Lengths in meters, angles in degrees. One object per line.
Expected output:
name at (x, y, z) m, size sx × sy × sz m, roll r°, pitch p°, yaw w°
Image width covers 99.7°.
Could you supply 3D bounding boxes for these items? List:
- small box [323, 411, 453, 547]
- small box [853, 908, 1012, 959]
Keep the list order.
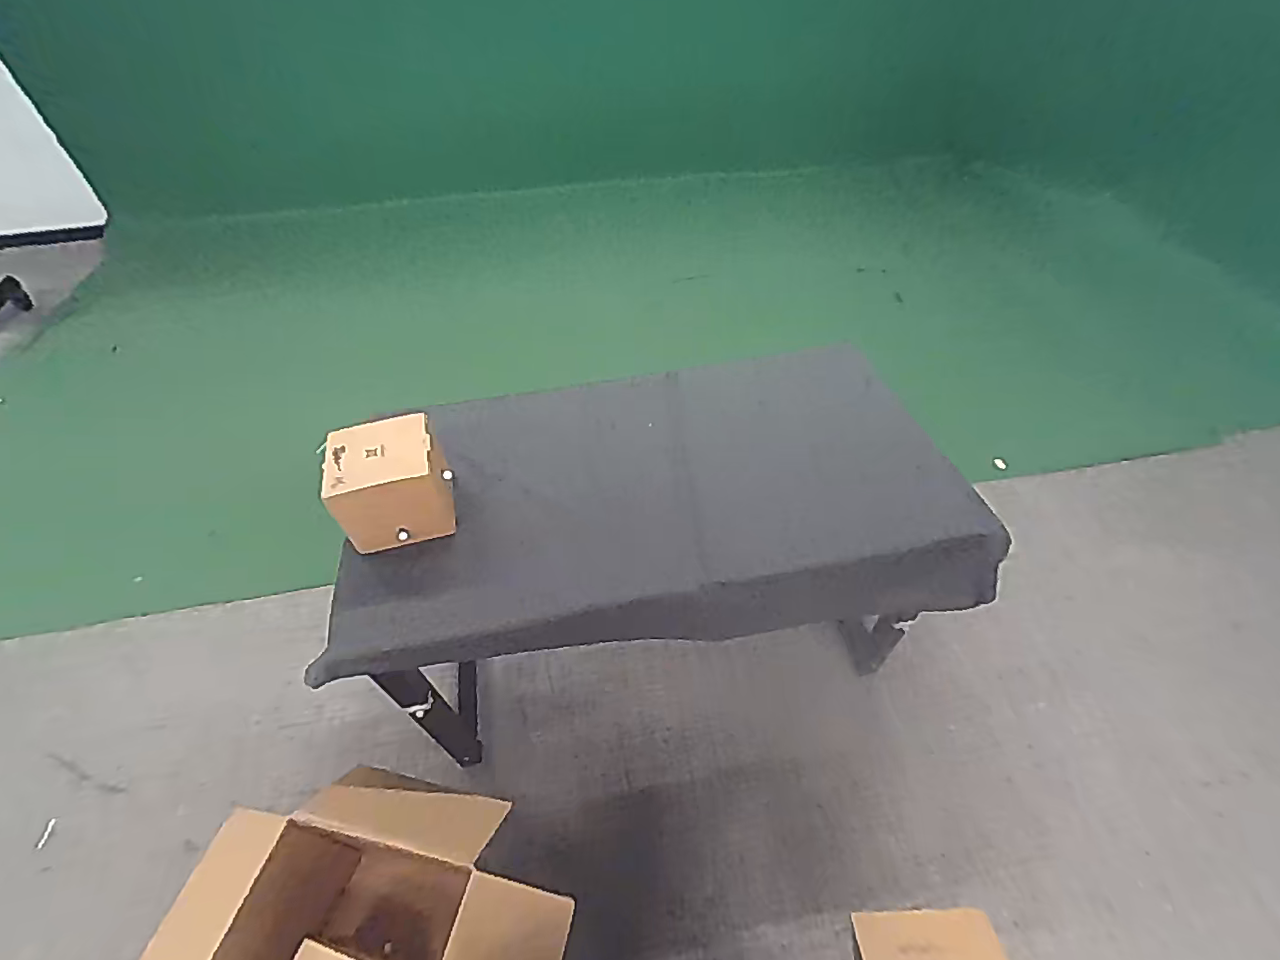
small box at (-0.453, 0.000, 1.001) m, size 0.179 × 0.176 × 0.168 m, roll -13°, pitch 49°, yaw -11°
small box at (0.356, 0.644, 0.623) m, size 0.168 × 0.176 × 0.179 m, roll -7°, pitch 16°, yaw 8°
